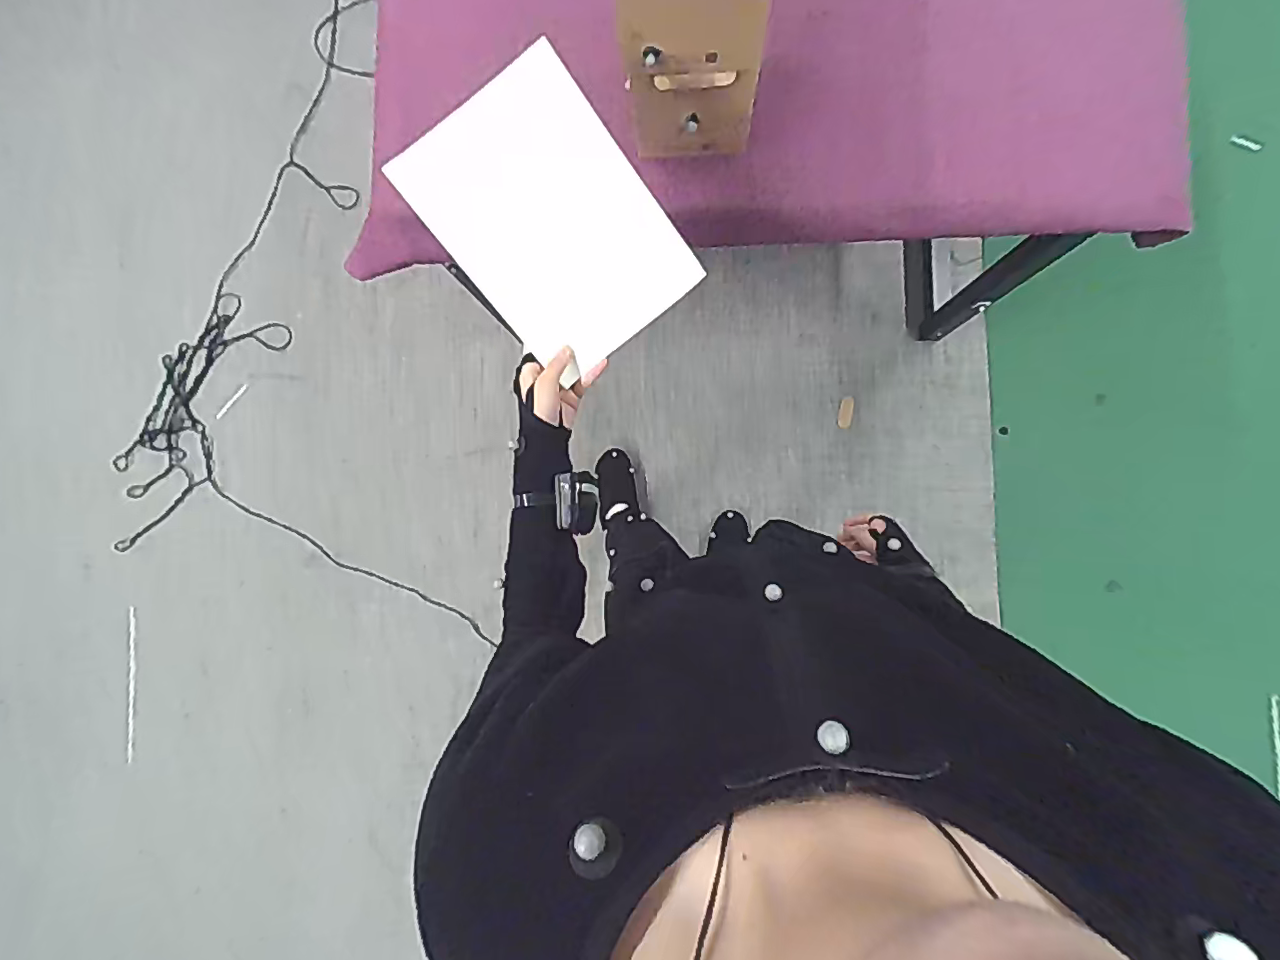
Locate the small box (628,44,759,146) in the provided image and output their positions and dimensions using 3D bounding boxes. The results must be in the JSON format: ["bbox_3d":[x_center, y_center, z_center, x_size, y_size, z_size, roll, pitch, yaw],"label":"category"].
[{"bbox_3d":[0.076,-0.594,0.751,0.168,0.176,0.179,1,87,4],"label":"small box"}]

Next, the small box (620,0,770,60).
[{"bbox_3d":[0.062,-0.598,0.586,0.168,0.176,0.179,1,86,5],"label":"small box"}]
